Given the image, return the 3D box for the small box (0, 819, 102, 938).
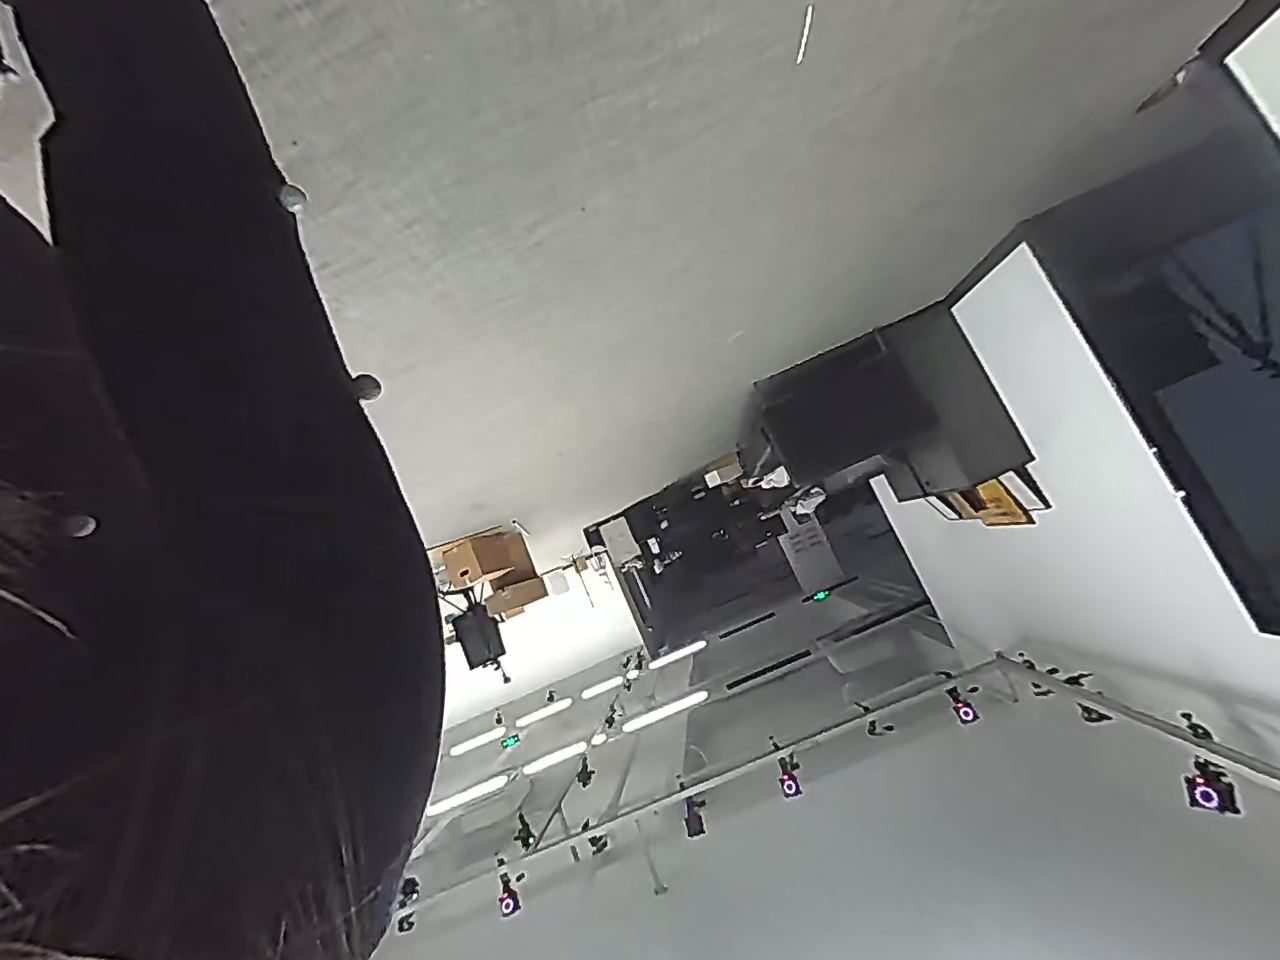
[{"bbox_3d":[-1.441,0.940,1.267,0.168,0.176,0.179,-25,171,3],"label":"small box"}]
